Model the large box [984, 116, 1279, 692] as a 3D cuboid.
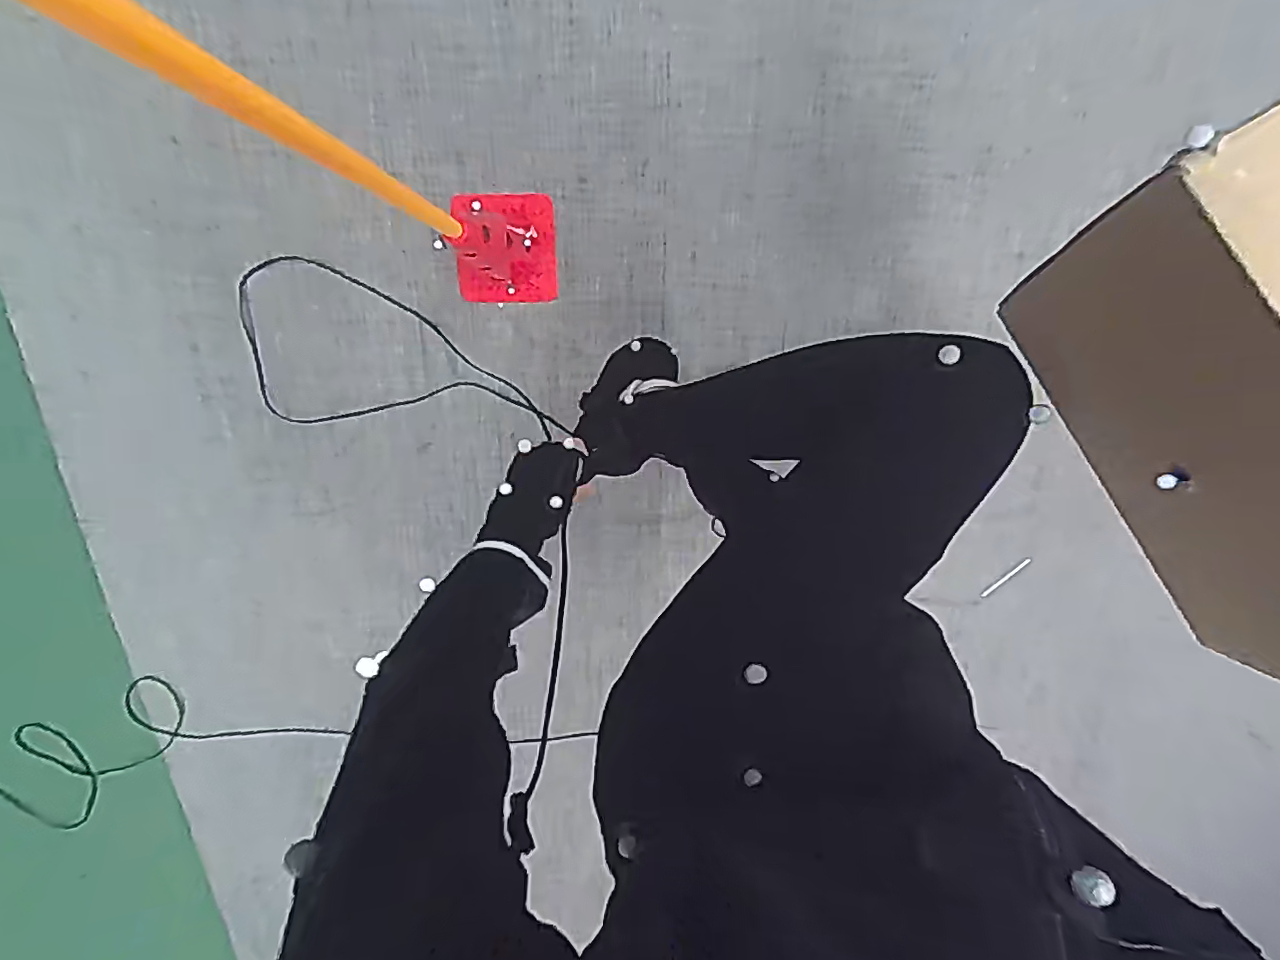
[{"bbox_3d":[0.553,-0.064,0.403,0.320,0.320,0.408,-29,83,15],"label":"large box"}]
